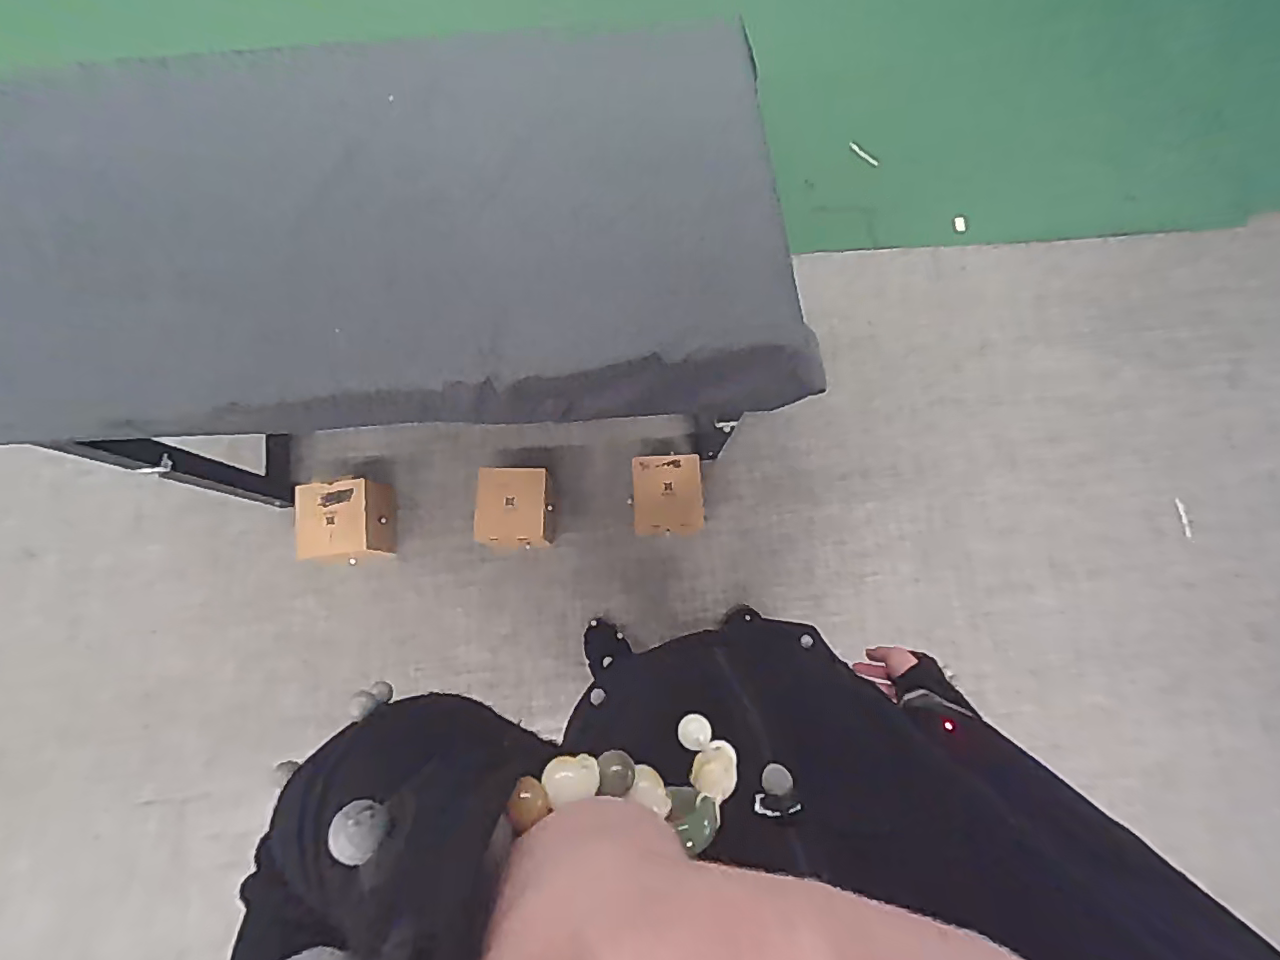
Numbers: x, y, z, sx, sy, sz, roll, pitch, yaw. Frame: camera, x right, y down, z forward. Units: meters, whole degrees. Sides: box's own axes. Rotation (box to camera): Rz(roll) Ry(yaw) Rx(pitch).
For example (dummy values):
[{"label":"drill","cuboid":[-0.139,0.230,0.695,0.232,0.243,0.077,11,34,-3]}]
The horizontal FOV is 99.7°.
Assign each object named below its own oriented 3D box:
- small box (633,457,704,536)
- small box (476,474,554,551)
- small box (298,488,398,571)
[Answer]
[{"label":"small box","cuboid":[0.069,0.048,1.379,0.168,0.176,0.179,-3,77,-1]},{"label":"small box","cuboid":[-0.309,0.087,1.365,0.168,0.176,0.179,-1,77,-3]},{"label":"small box","cuboid":[-0.720,0.127,1.347,0.168,0.176,0.179,-8,79,-2]}]
